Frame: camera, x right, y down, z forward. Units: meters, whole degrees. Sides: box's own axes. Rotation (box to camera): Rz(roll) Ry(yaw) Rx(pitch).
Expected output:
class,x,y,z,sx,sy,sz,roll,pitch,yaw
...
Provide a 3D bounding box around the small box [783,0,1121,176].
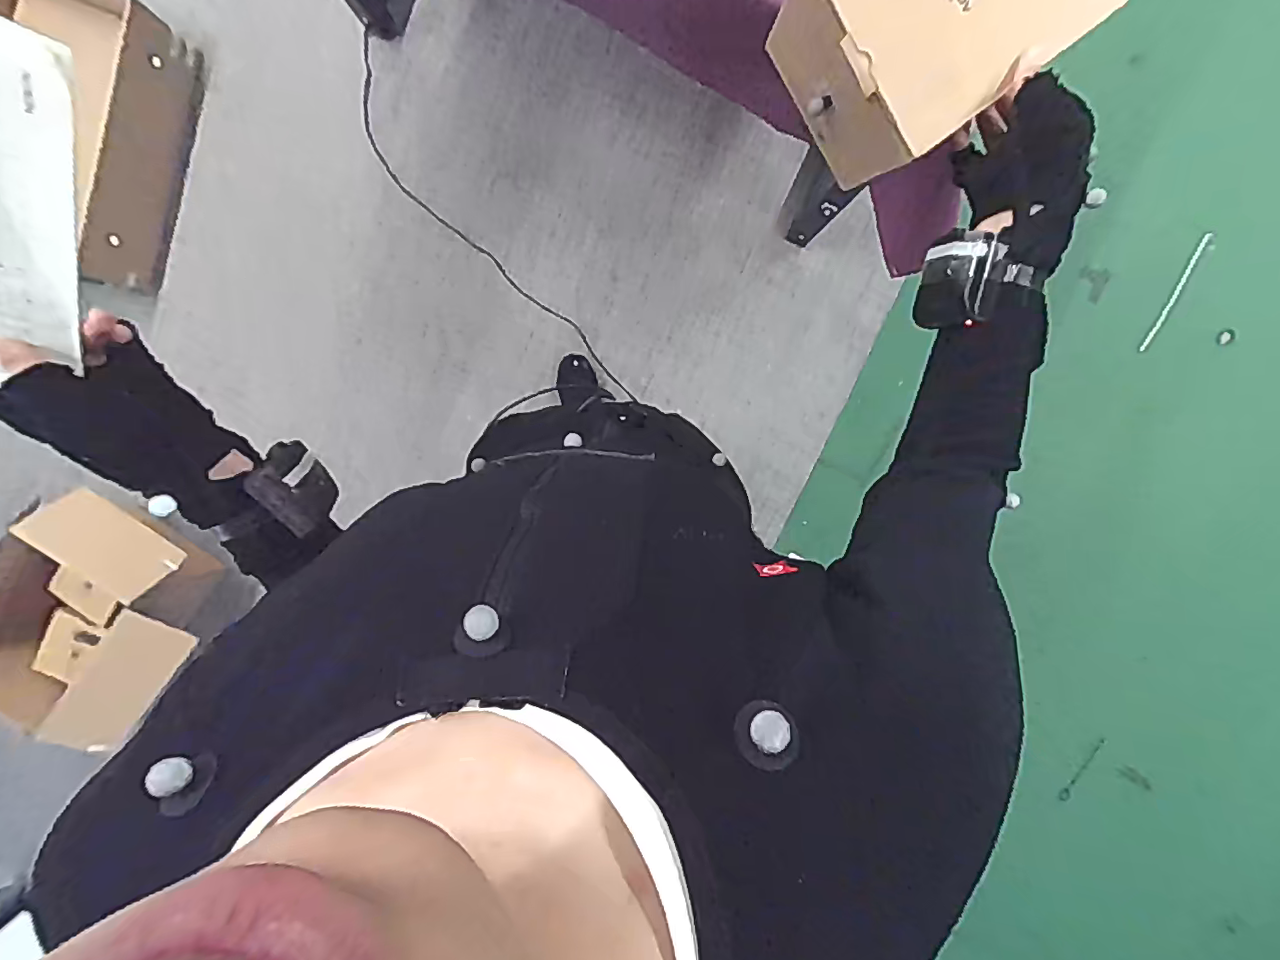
class,x,y,z,sx,sy,sz,roll,pitch,yaw
small box,0.239,-0.394,0.462,0.179,0.176,0.168,-34,107,16
